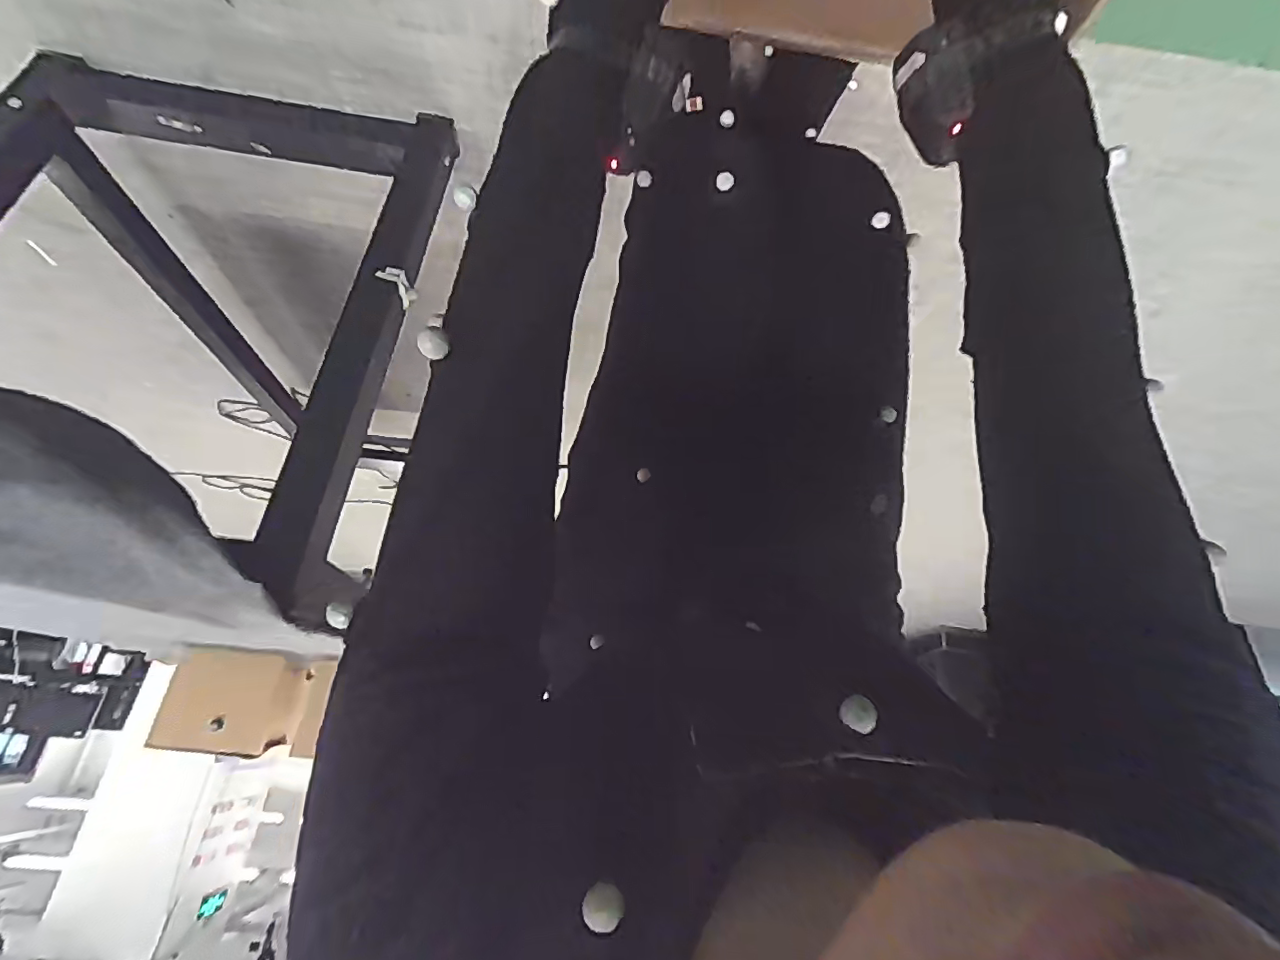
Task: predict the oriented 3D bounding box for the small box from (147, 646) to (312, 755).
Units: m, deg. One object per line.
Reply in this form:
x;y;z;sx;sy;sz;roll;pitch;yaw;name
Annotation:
-0.747;0.410;1.013;0.179;0.176;0.168;9;154;-8;small box
